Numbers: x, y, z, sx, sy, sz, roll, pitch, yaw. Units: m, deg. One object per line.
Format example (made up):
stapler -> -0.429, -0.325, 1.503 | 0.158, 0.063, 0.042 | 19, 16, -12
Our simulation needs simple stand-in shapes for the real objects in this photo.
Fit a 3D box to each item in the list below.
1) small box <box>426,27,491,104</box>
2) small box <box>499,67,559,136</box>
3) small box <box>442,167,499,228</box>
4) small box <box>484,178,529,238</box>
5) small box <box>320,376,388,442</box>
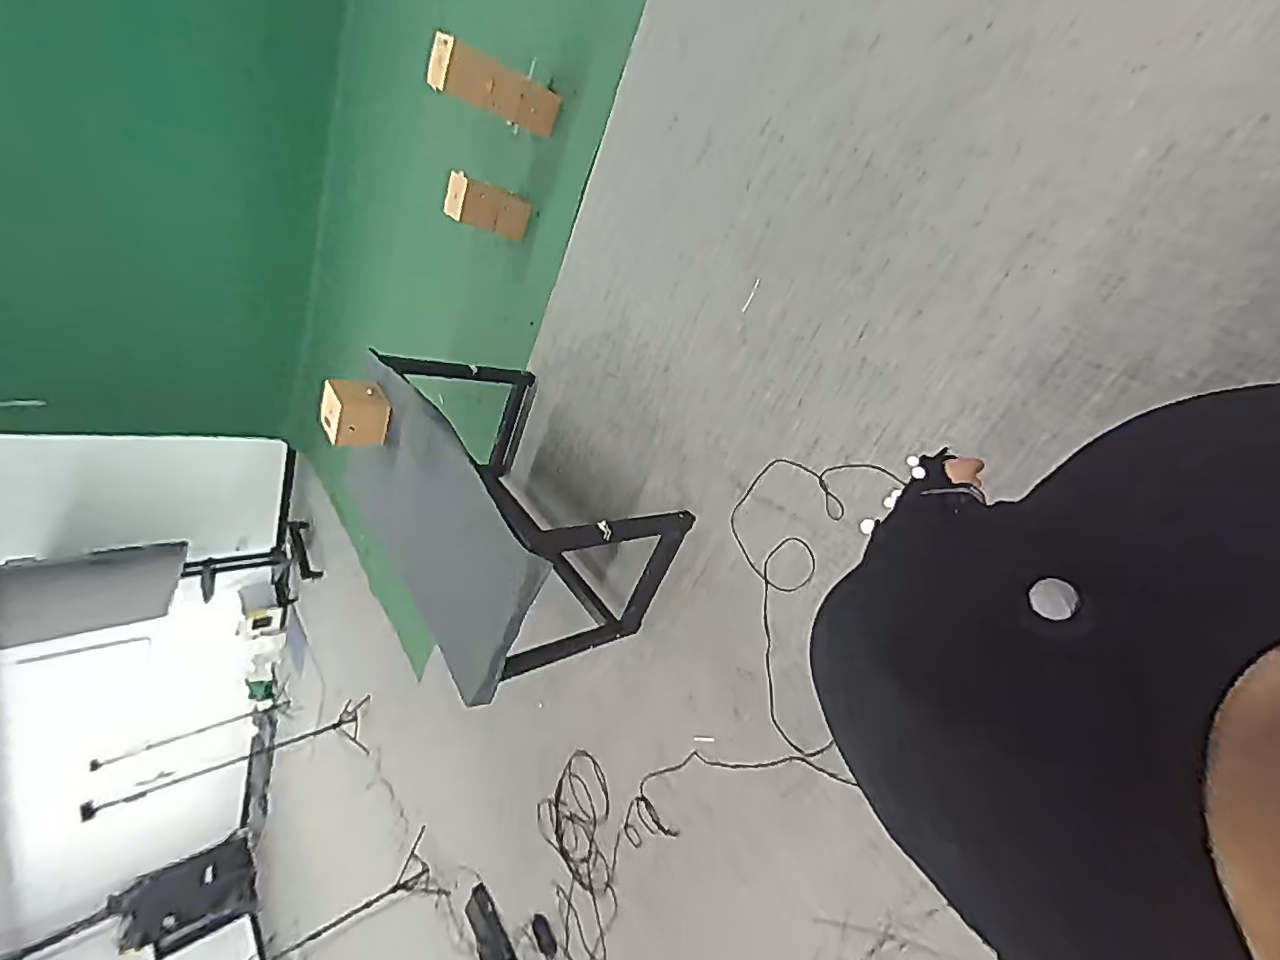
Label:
small box -> -0.705, -1.608, 2.105 | 0.168, 0.176, 0.179 | 46, 122, 32
small box -> -0.474, -1.633, 2.338 | 0.168, 0.176, 0.179 | 46, 122, 31
small box -> -0.745, -1.248, 2.393 | 0.168, 0.176, 0.179 | 41, 119, 35
small box -> -0.641, -1.263, 2.516 | 0.168, 0.176, 0.179 | 49, 123, 30
small box -> -1.021, -0.252, 1.931 | 0.168, 0.176, 0.179 | 47, 124, 30
